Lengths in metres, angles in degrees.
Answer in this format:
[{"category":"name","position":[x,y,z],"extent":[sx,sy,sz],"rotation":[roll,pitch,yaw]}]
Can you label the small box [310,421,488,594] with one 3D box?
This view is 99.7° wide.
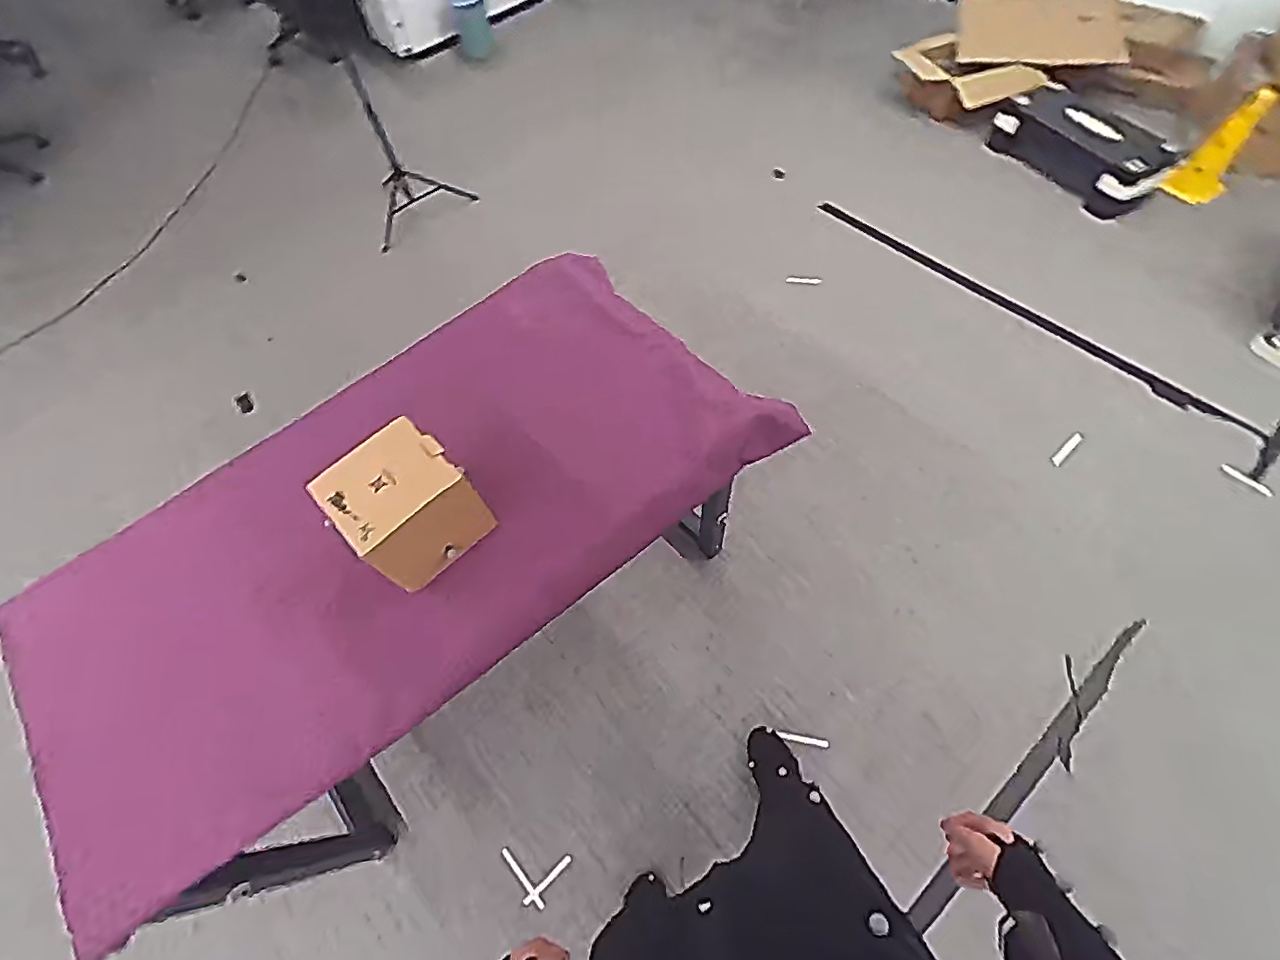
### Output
[{"category":"small box","position":[-0.363,0.048,0.856],"extent":[0.179,0.176,0.168],"rotation":[-42,65,-18]}]
